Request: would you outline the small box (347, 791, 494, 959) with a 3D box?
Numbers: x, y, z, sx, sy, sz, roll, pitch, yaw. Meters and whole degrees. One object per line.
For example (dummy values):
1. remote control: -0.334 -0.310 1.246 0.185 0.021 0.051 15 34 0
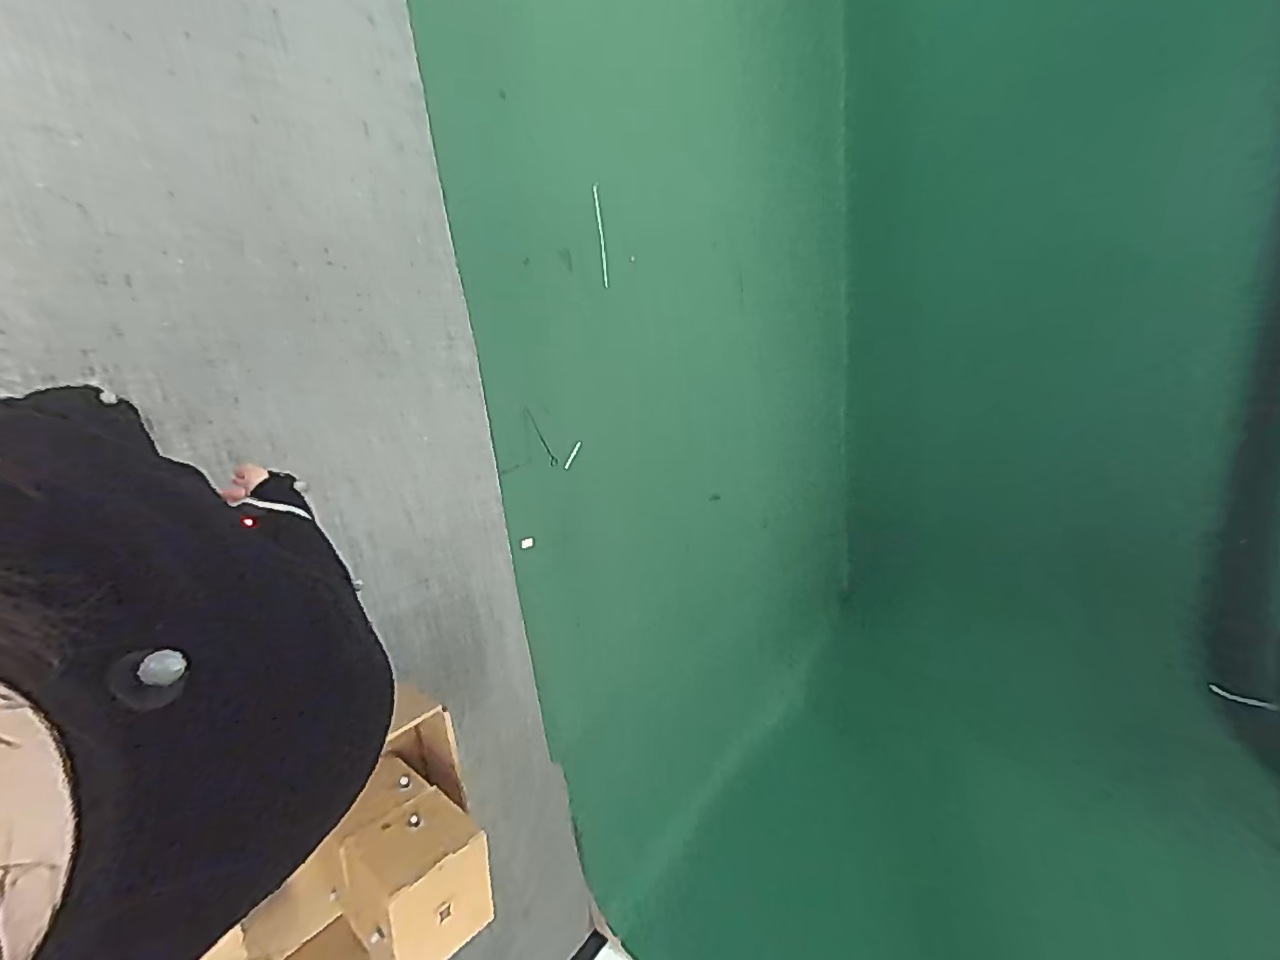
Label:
1. small box: -0.366 0.671 0.904 0.168 0.176 0.179 -13 104 -48
